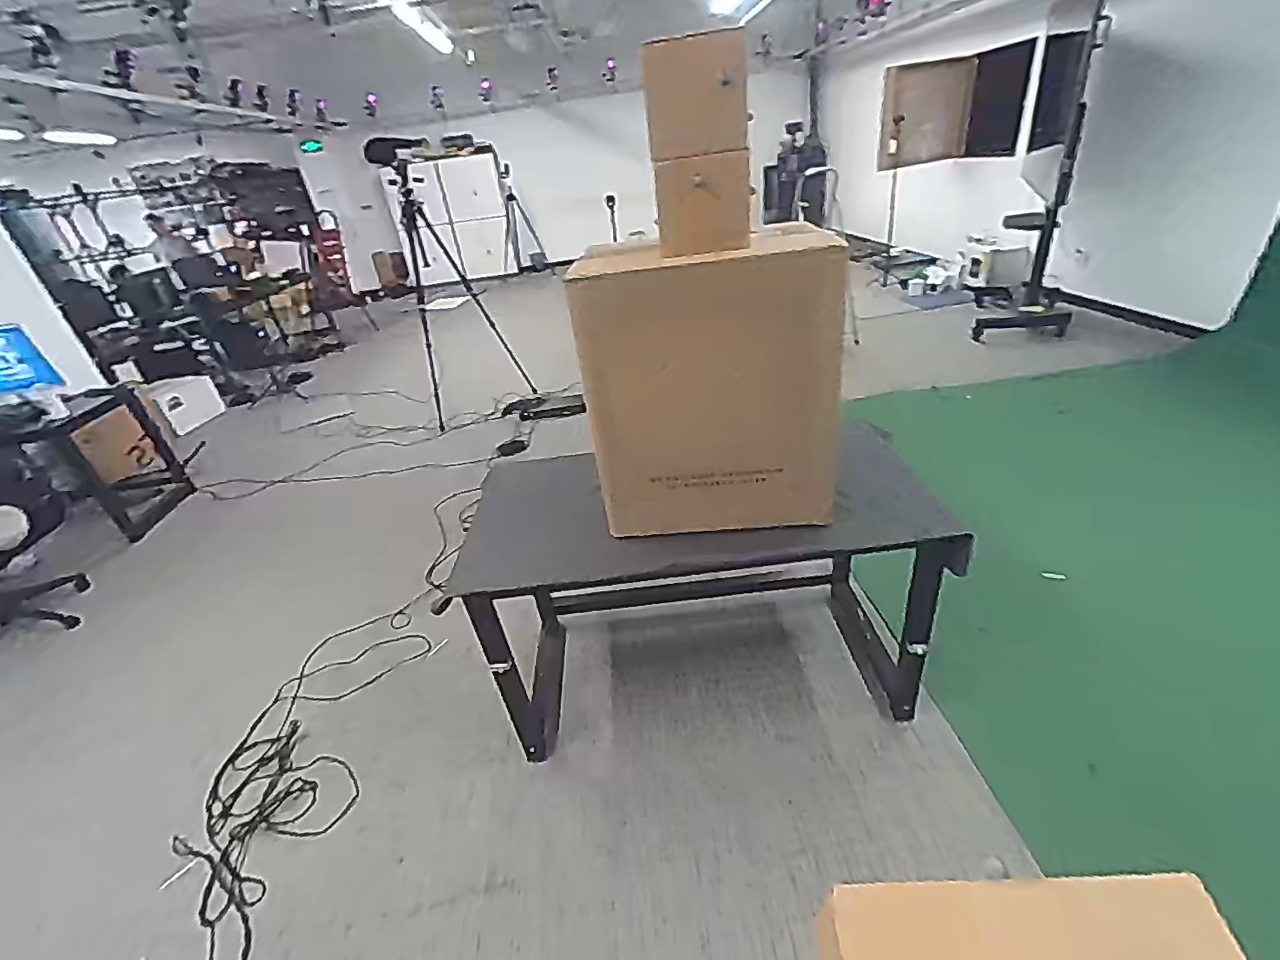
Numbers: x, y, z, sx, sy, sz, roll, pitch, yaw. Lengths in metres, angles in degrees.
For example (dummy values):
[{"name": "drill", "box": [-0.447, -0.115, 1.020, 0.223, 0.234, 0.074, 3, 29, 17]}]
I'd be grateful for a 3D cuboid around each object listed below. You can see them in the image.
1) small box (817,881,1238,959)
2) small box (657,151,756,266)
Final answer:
[{"name": "small box", "box": [0.198, 0.319, 0.276, 0.179, 0.176, 0.168, -7, 44, 8]}, {"name": "small box", "box": [0.130, -0.532, 1.059, 0.179, 0.176, 0.168, -4, 33, 7]}]
